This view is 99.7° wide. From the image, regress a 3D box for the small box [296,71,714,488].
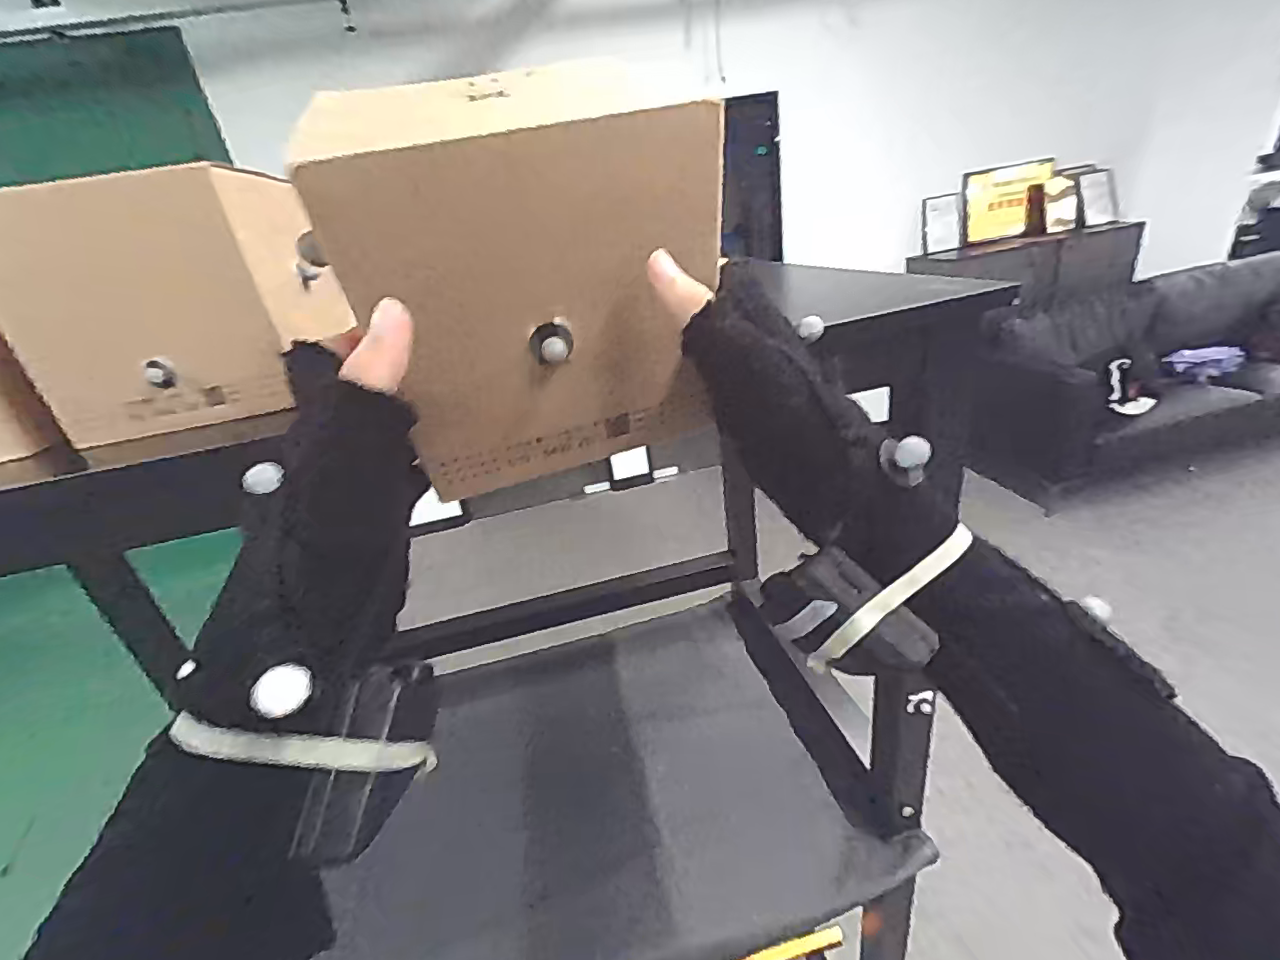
[{"bbox_3d":[-0.066,-0.115,0.316,0.168,0.176,0.179,-17,44,-12],"label":"small box"}]
